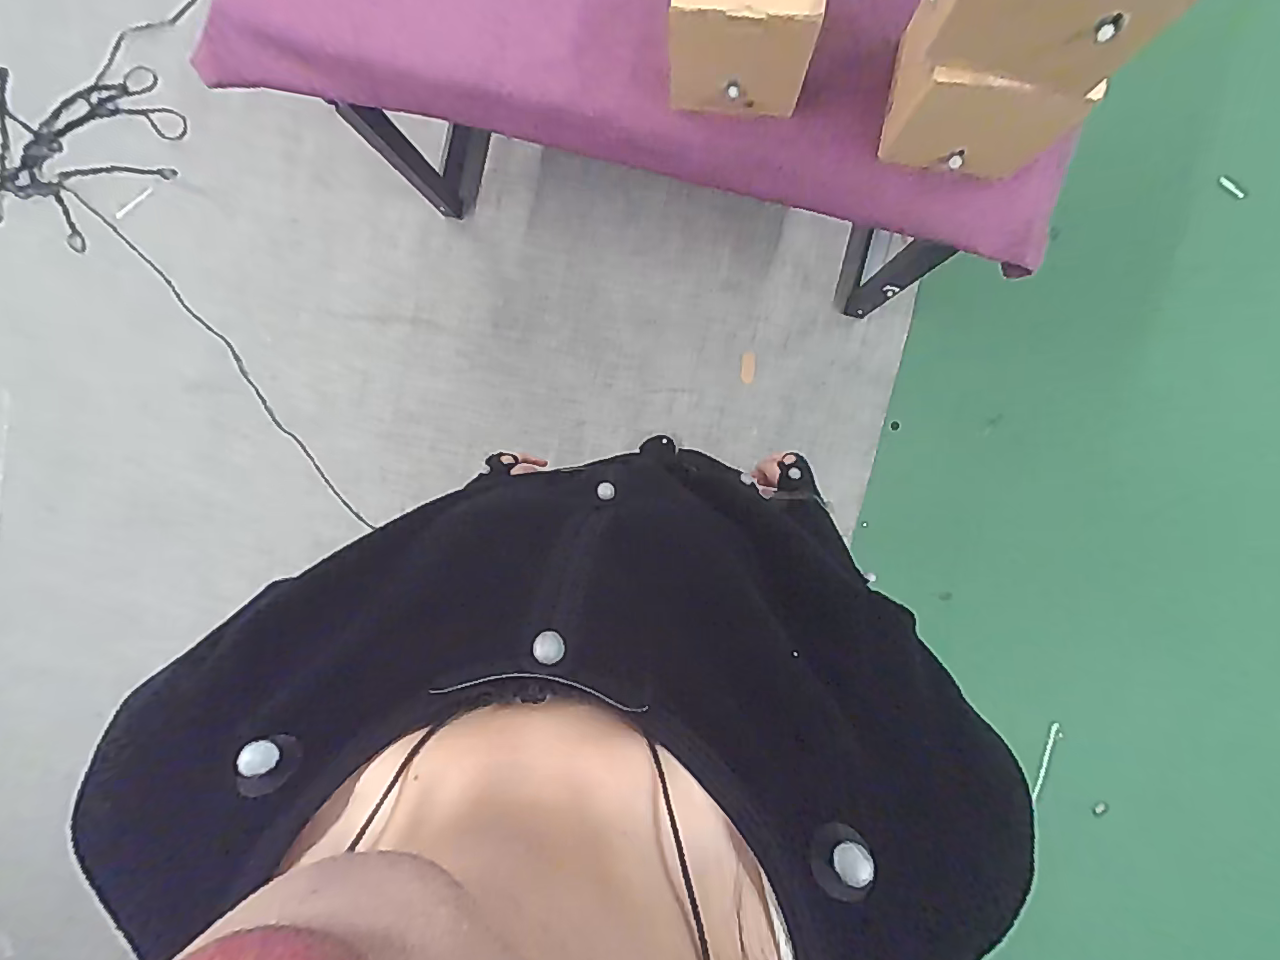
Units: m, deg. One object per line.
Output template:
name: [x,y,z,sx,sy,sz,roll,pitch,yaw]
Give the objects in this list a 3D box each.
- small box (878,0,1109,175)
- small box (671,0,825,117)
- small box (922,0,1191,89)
small box: [0.410,-0.488,0.636,0.179,0.176,0.168,10,94,4]
small box: [0.129,-0.583,0.651,0.168,0.176,0.179,8,93,4]
small box: [0.389,-0.488,0.473,0.179,0.176,0.168,16,95,4]
